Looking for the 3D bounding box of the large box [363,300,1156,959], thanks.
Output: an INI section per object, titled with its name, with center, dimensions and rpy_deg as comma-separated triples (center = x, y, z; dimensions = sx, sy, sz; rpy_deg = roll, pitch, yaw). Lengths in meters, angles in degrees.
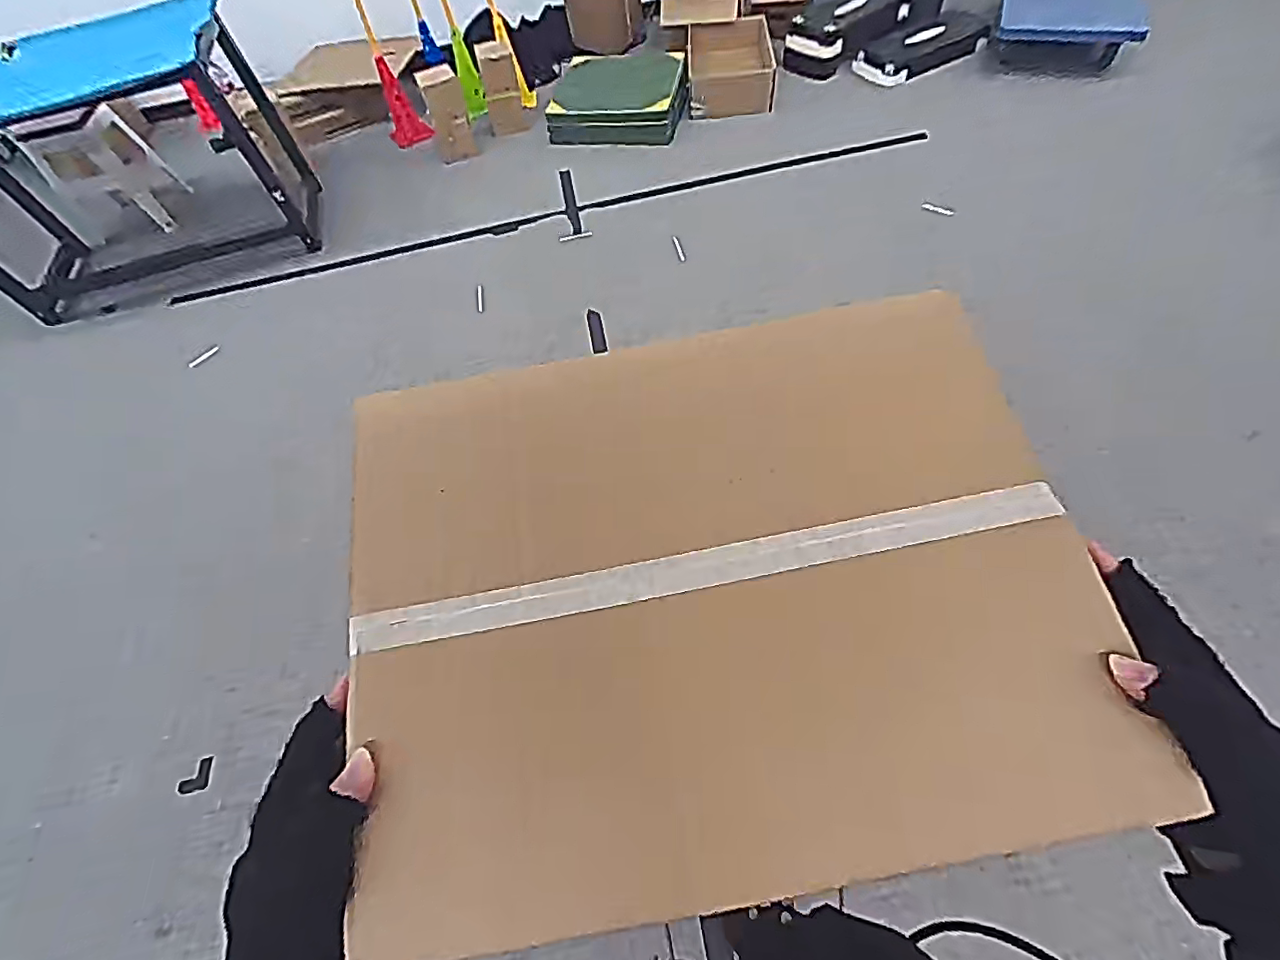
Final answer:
[large box]
center = 0.046, 0.107, 0.455
dimensions = 0.408, 0.320, 0.320
rpy_deg = -12, 68, 0
